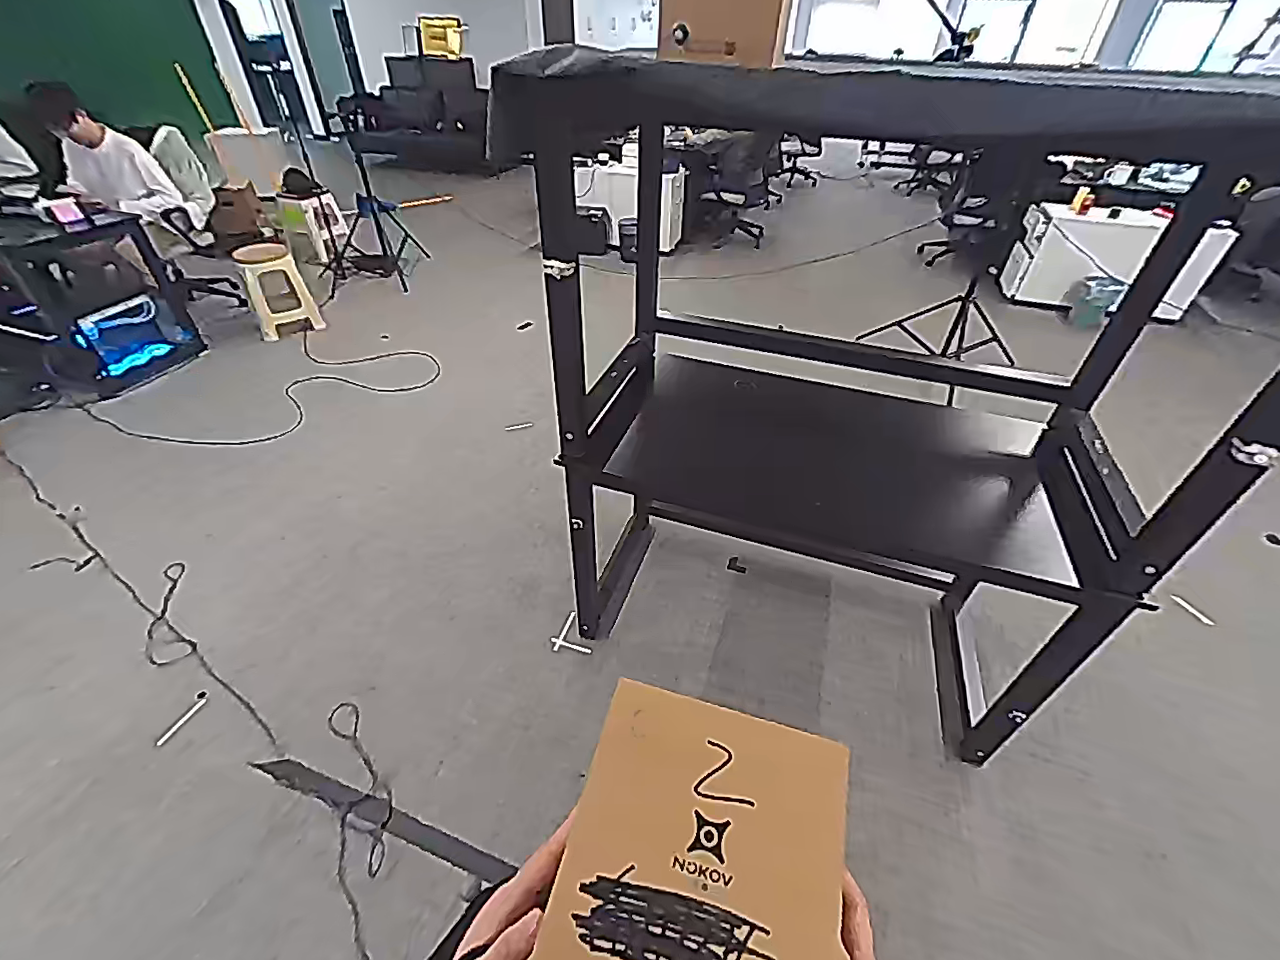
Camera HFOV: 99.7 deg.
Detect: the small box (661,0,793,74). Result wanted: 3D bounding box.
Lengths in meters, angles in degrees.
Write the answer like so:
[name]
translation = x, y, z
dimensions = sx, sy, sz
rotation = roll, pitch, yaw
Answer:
[small box]
translation = 0.129, -0.683, 0.765
dimensions = 0.168, 0.176, 0.179
rotation = 13, 39, 11
